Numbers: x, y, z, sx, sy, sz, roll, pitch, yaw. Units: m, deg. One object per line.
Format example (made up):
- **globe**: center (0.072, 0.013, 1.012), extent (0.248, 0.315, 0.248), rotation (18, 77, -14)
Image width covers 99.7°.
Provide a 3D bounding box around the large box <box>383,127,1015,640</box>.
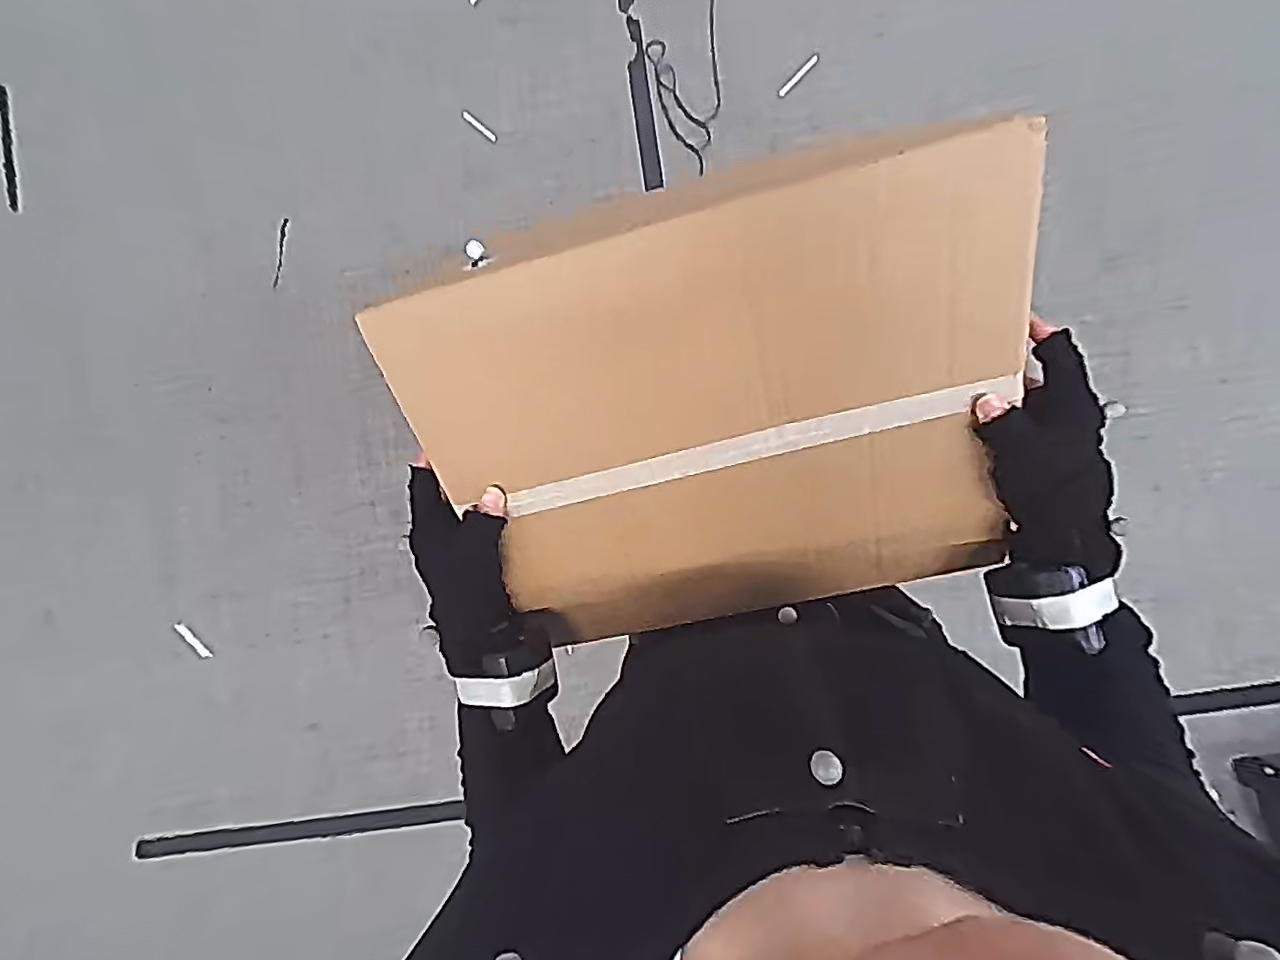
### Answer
- **large box**: center (0.058, -0.097, 0.527), extent (0.408, 0.320, 0.320), rotation (-13, 120, 8)
